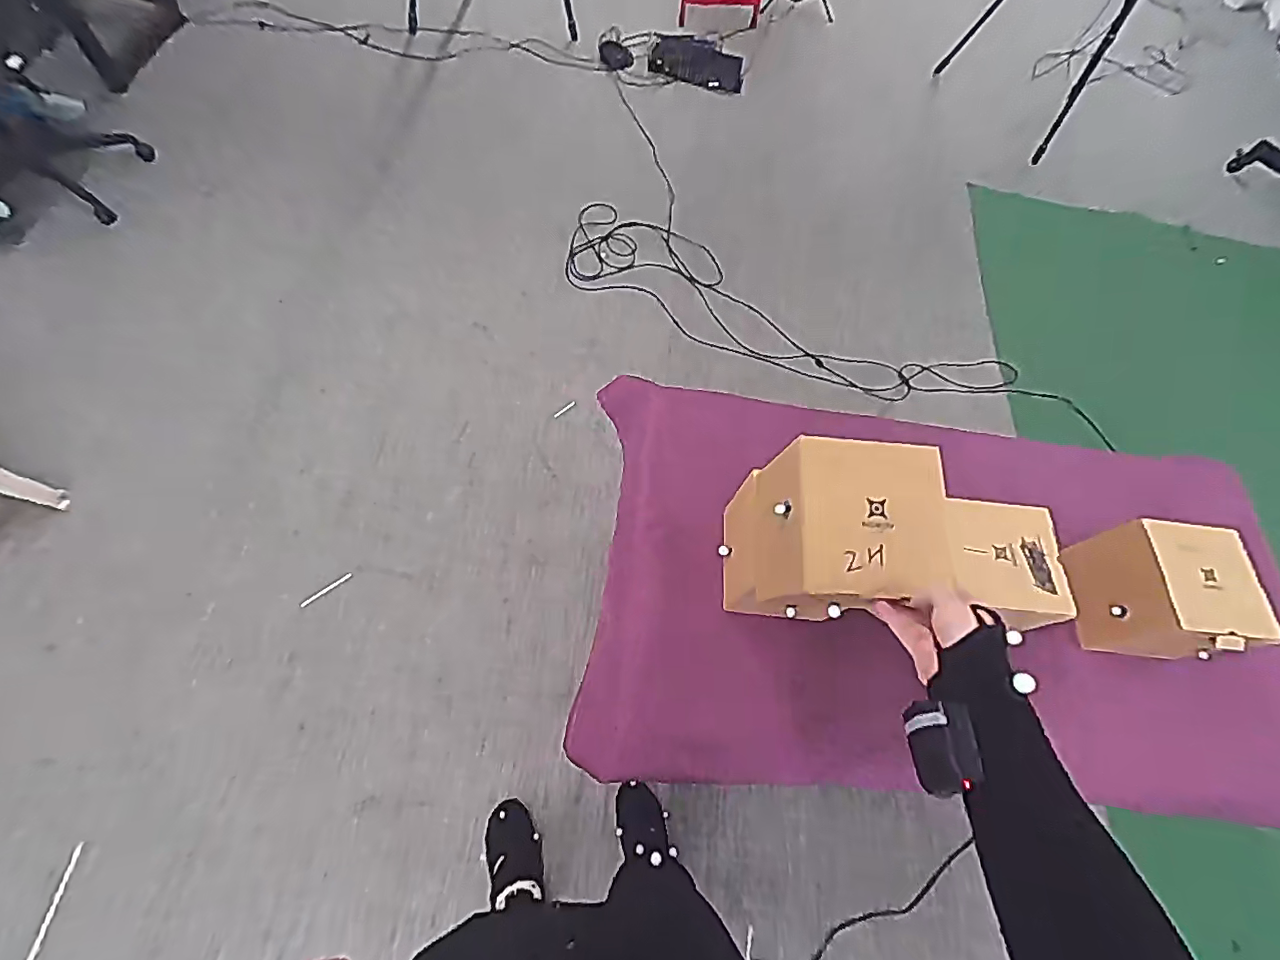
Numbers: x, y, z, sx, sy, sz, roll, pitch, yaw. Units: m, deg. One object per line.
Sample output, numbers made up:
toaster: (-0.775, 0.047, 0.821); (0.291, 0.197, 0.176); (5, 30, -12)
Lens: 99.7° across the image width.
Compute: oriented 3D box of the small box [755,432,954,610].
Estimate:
small box: (0.244, 0.060, 0.659); (0.168, 0.176, 0.179); (5, 73, -5)

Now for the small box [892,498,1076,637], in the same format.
small box: (0.515, 0.144, 0.846); (0.179, 0.176, 0.168); (6, 63, -3)

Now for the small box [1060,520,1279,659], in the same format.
small box: (0.832, 0.183, 0.869); (0.168, 0.176, 0.179); (8, 63, -4)

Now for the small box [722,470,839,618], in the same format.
small box: (0.227, 0.107, 0.826); (0.168, 0.176, 0.179); (7, 64, -5)
